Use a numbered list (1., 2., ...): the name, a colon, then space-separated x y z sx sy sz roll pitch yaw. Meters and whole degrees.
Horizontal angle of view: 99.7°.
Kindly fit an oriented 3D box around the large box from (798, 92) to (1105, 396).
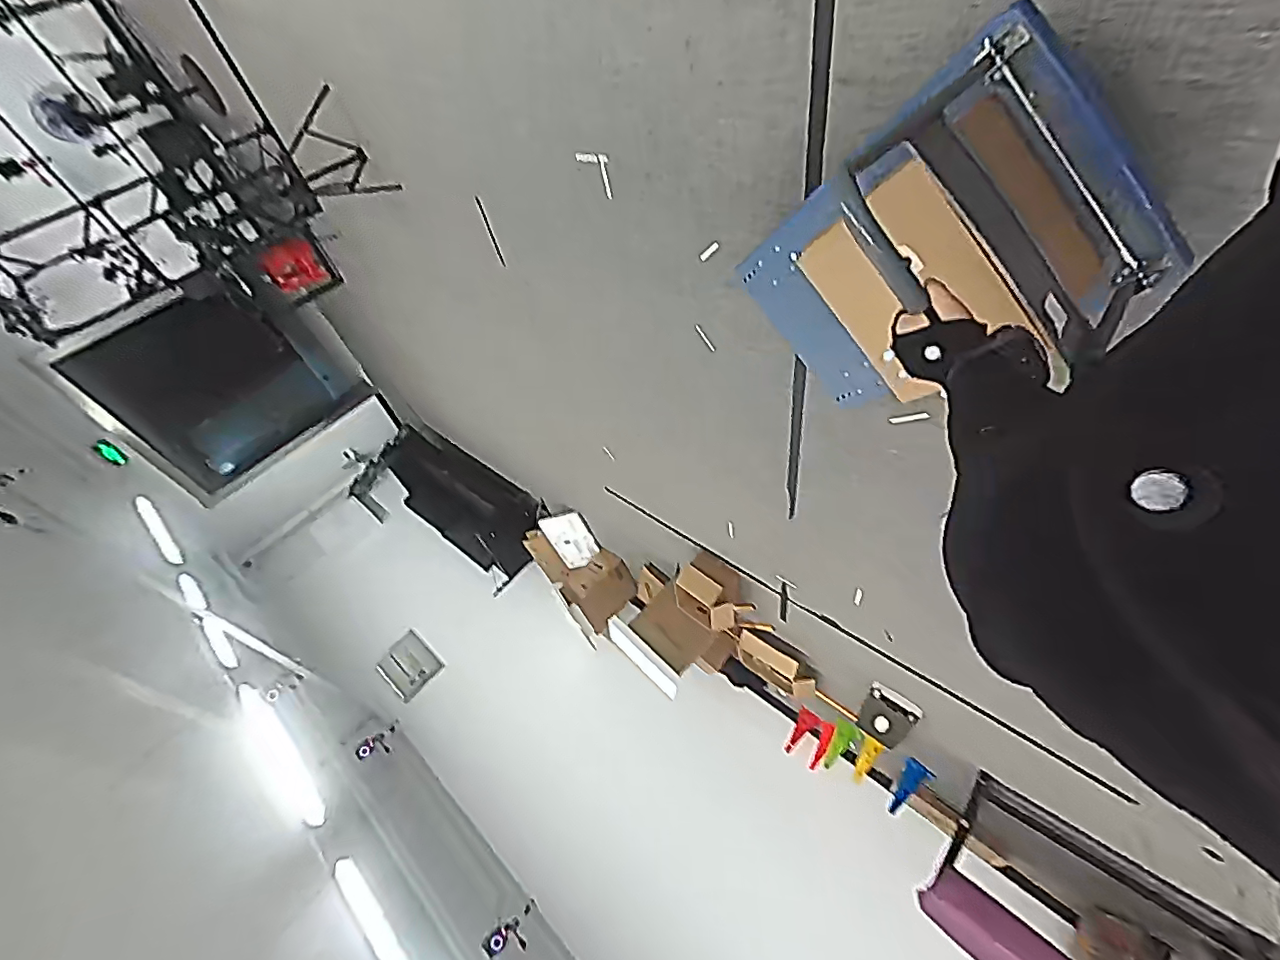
1. large box: 0.619 -0.451 1.095 0.408 0.320 0.320 49 156 -8
